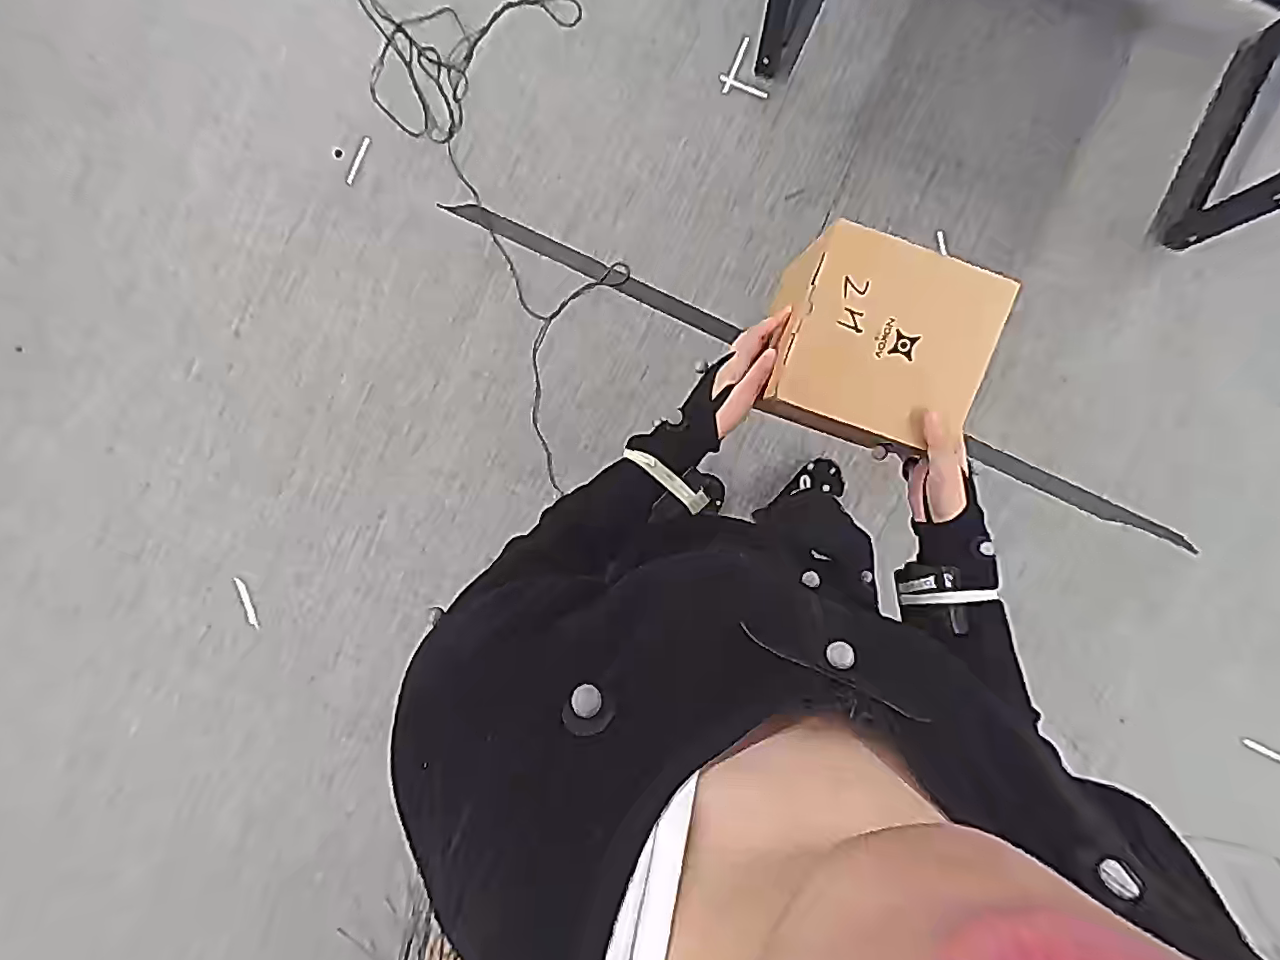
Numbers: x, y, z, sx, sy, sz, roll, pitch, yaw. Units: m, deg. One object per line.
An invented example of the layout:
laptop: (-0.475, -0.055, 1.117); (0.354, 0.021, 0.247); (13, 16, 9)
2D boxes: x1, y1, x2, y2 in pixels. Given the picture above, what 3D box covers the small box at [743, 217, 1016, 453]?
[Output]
small box: (0.227, -0.137, 0.564); (0.179, 0.176, 0.168); (19, 95, -2)
